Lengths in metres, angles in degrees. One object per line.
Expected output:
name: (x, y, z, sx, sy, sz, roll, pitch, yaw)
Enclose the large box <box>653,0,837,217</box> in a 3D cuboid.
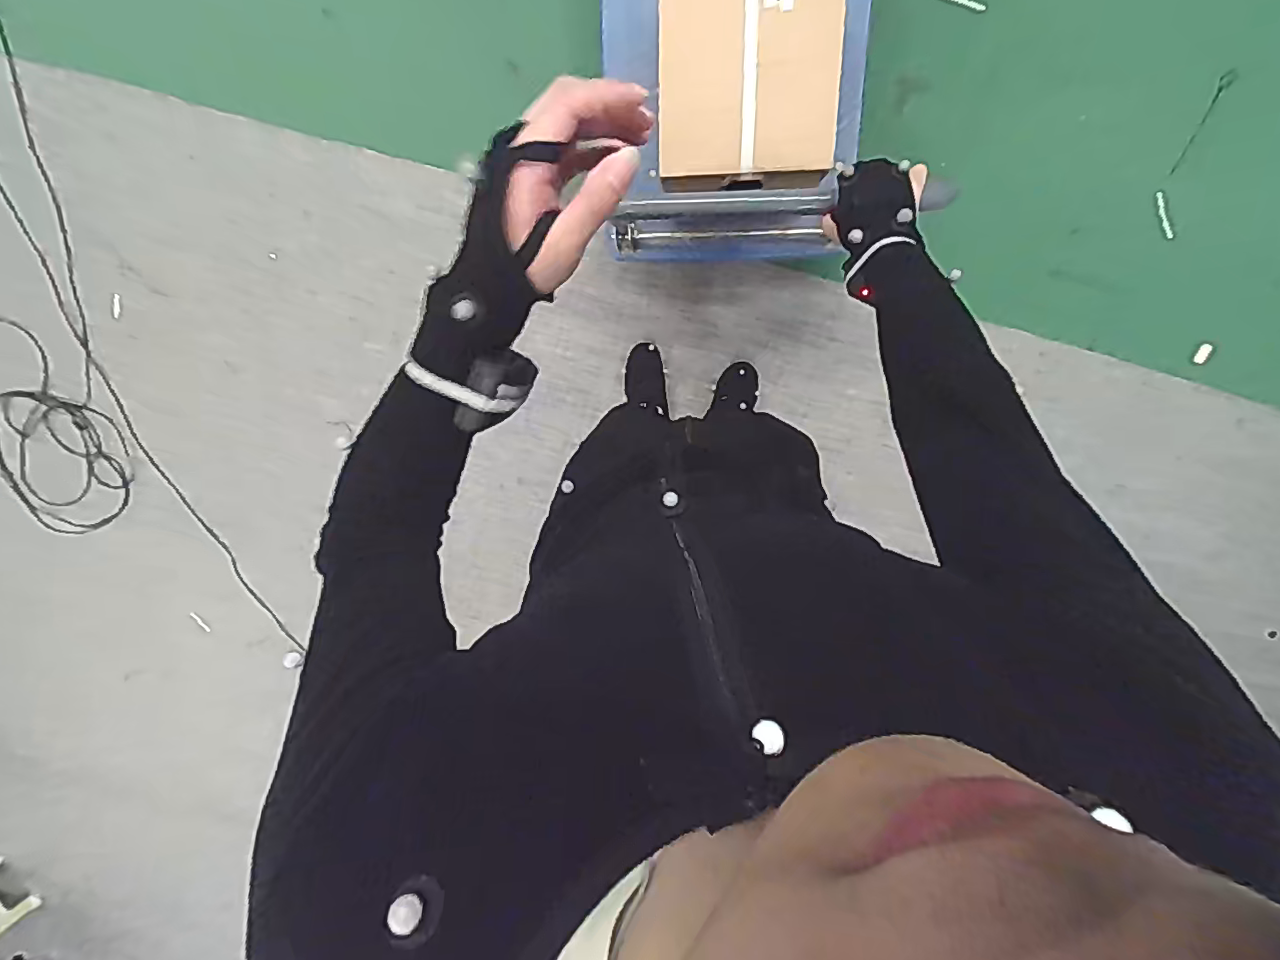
large box: (0.198, -0.783, 1.083, 0.320, 0.320, 0.408, 1, 105, 6)
